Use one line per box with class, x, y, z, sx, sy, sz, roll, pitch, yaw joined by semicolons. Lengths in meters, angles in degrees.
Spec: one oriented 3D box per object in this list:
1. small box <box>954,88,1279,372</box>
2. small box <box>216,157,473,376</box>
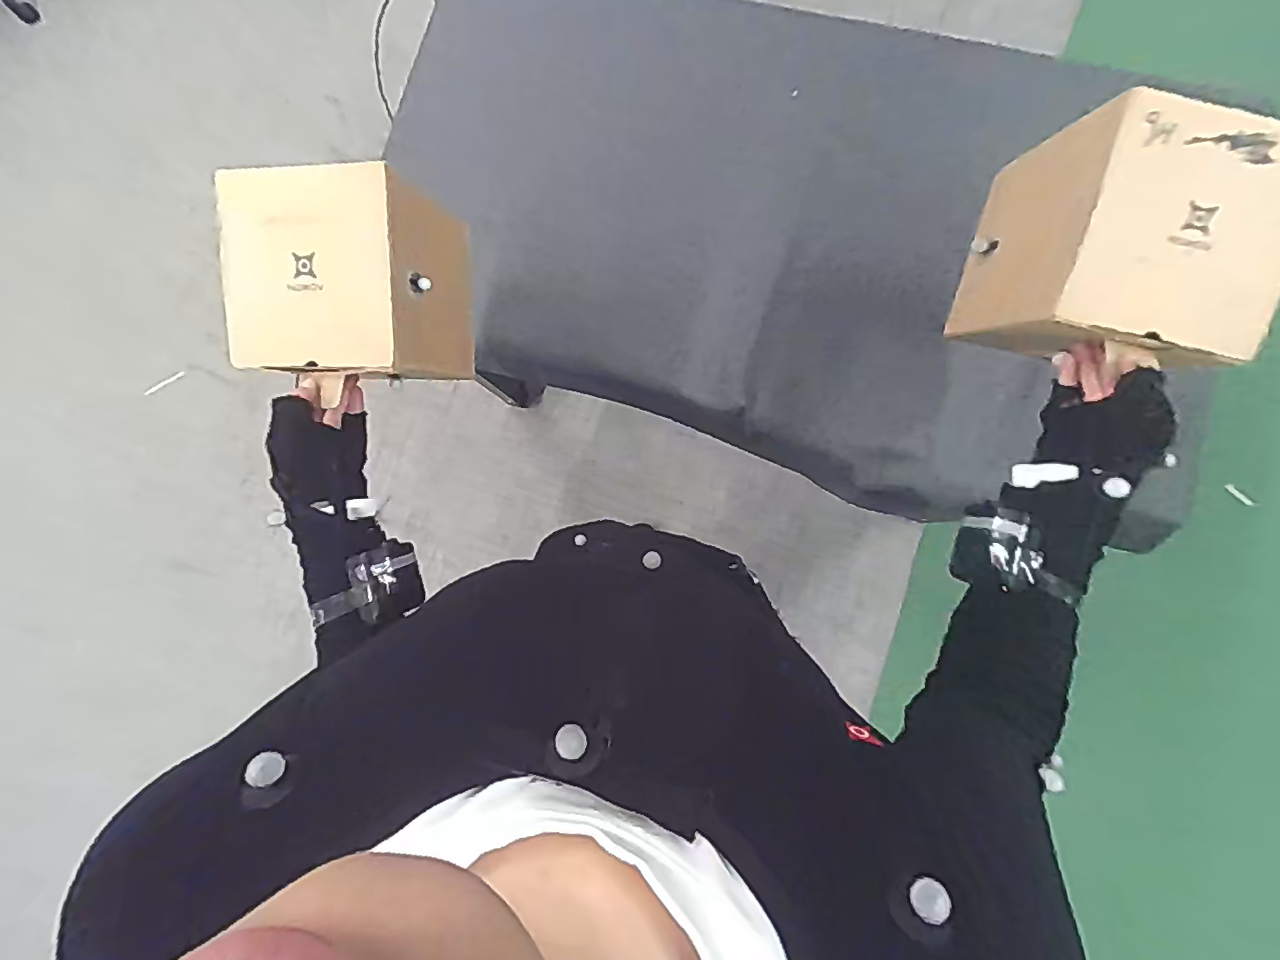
small box;0.426;-0.204;0.495;0.168;0.176;0.179;14;101;-2
small box;-0.282;-0.199;0.553;0.168;0.176;0.179;2;97;7
